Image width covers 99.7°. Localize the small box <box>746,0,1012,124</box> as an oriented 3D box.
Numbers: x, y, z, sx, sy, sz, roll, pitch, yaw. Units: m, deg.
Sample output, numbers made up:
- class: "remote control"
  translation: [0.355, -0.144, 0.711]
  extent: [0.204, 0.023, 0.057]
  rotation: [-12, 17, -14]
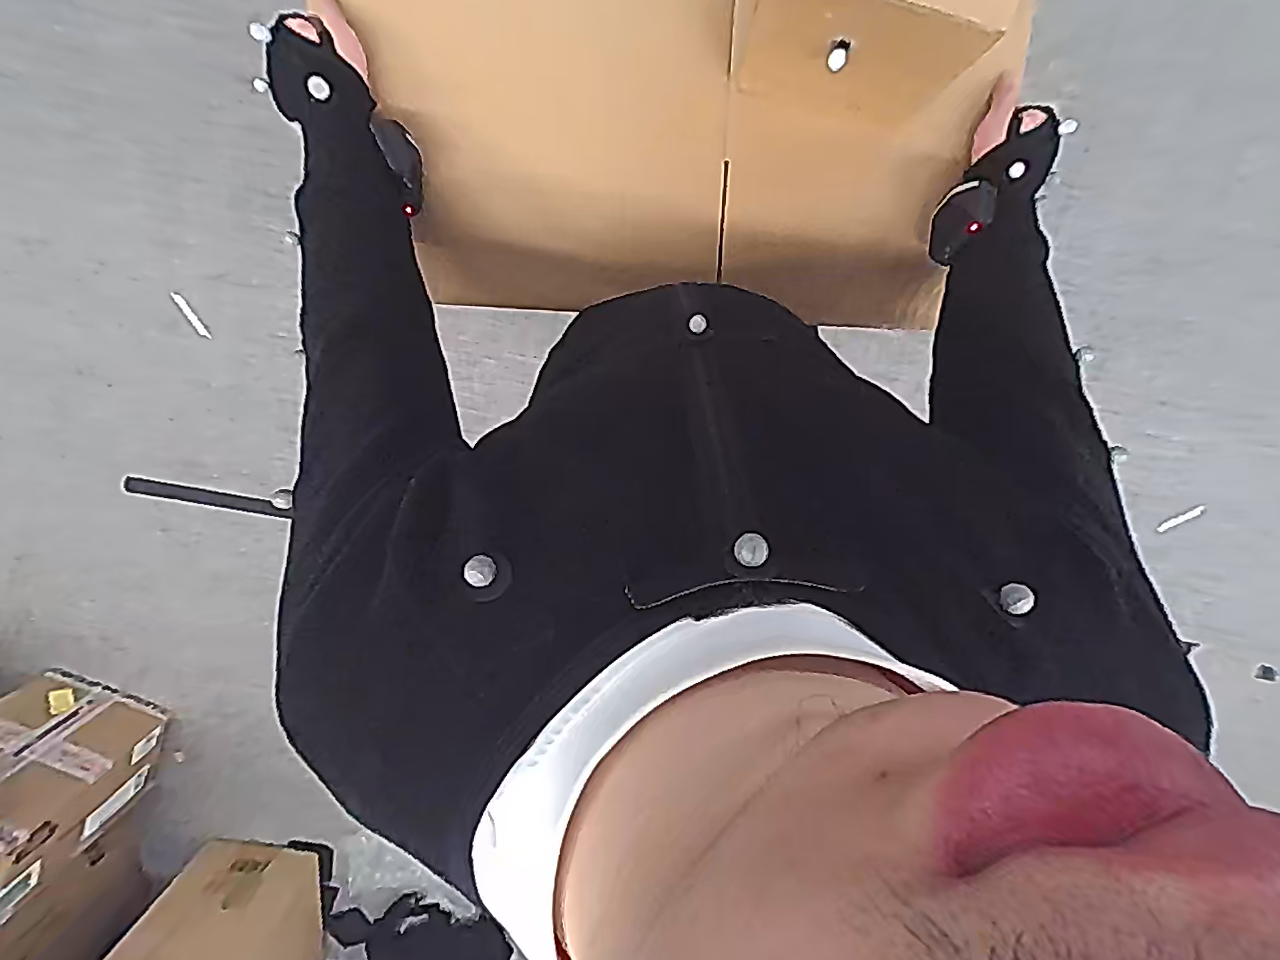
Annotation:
- class: "small box"
  translation: [0.204, -0.444, 0.463]
  extent: [0.179, 0.176, 0.168]
  rotation: [13, 101, -3]
